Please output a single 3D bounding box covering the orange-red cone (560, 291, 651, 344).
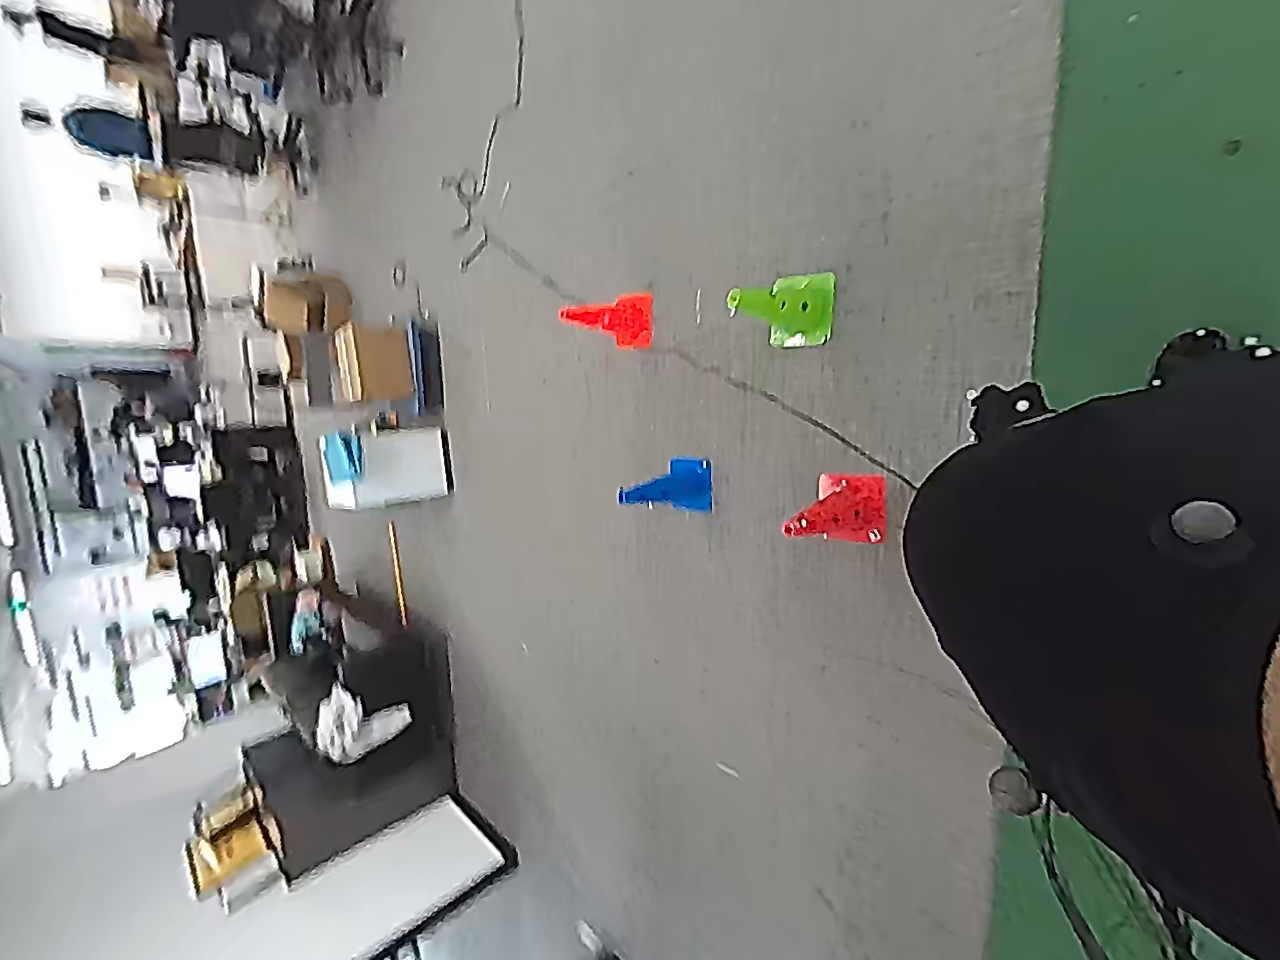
[{"bbox_3d":[-0.147,-0.615,2.021,0.199,0.360,0.198,13,108,42],"label":"orange-red cone"}]

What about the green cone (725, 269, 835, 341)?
[{"bbox_3d":[0.366,-0.503,1.512,0.202,0.368,0.200,11,105,45],"label":"green cone"}]
